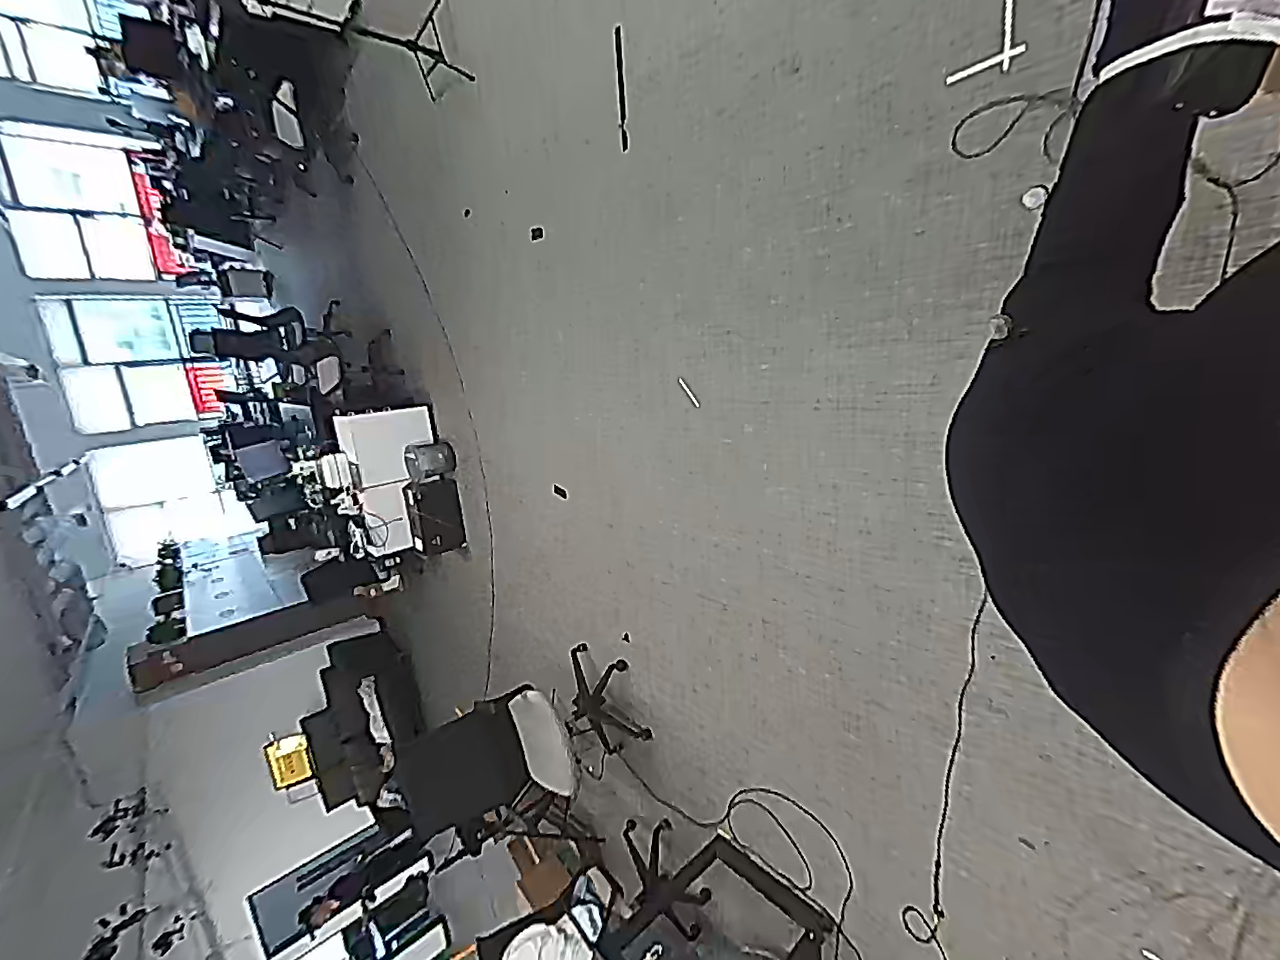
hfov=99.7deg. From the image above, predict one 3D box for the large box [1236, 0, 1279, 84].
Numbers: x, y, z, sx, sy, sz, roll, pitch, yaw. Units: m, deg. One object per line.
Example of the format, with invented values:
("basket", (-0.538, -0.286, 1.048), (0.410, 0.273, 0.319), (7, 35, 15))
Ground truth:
("large box", (0.610, -0.451, 0.248), (0.408, 0.320, 0.320), (17, 119, 47))
